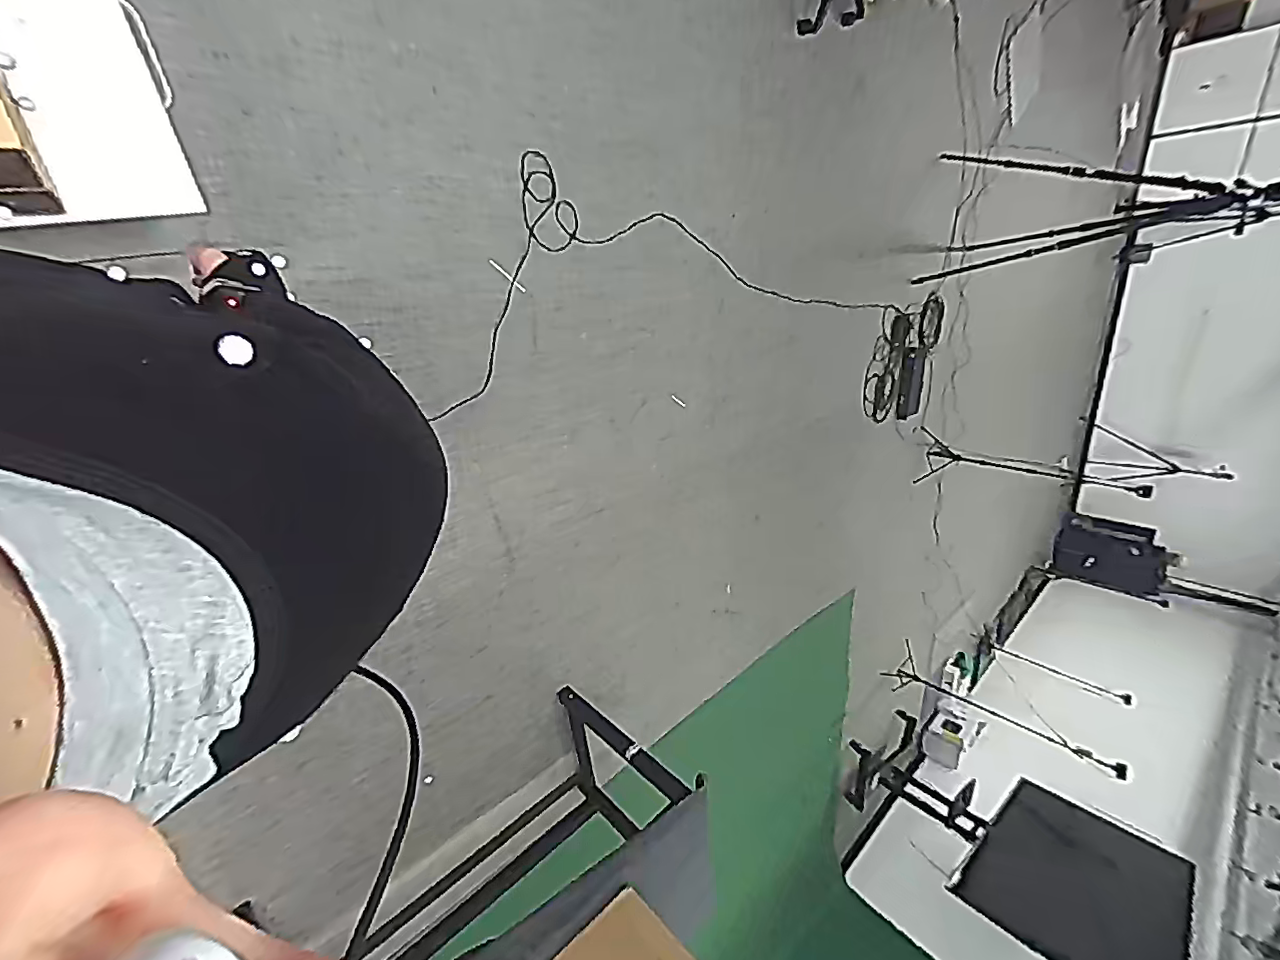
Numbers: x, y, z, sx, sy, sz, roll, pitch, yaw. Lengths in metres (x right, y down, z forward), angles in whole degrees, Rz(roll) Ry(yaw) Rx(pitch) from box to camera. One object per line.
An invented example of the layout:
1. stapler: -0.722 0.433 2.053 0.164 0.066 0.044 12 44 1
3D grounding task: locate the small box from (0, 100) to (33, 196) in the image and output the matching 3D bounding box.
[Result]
1. small box: -0.601 -0.319 0.392 0.168 0.176 0.179 -24 117 -37

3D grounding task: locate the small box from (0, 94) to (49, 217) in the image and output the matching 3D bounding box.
1. small box: -0.712 -0.350 0.508 0.168 0.176 0.179 -26 117 -37
